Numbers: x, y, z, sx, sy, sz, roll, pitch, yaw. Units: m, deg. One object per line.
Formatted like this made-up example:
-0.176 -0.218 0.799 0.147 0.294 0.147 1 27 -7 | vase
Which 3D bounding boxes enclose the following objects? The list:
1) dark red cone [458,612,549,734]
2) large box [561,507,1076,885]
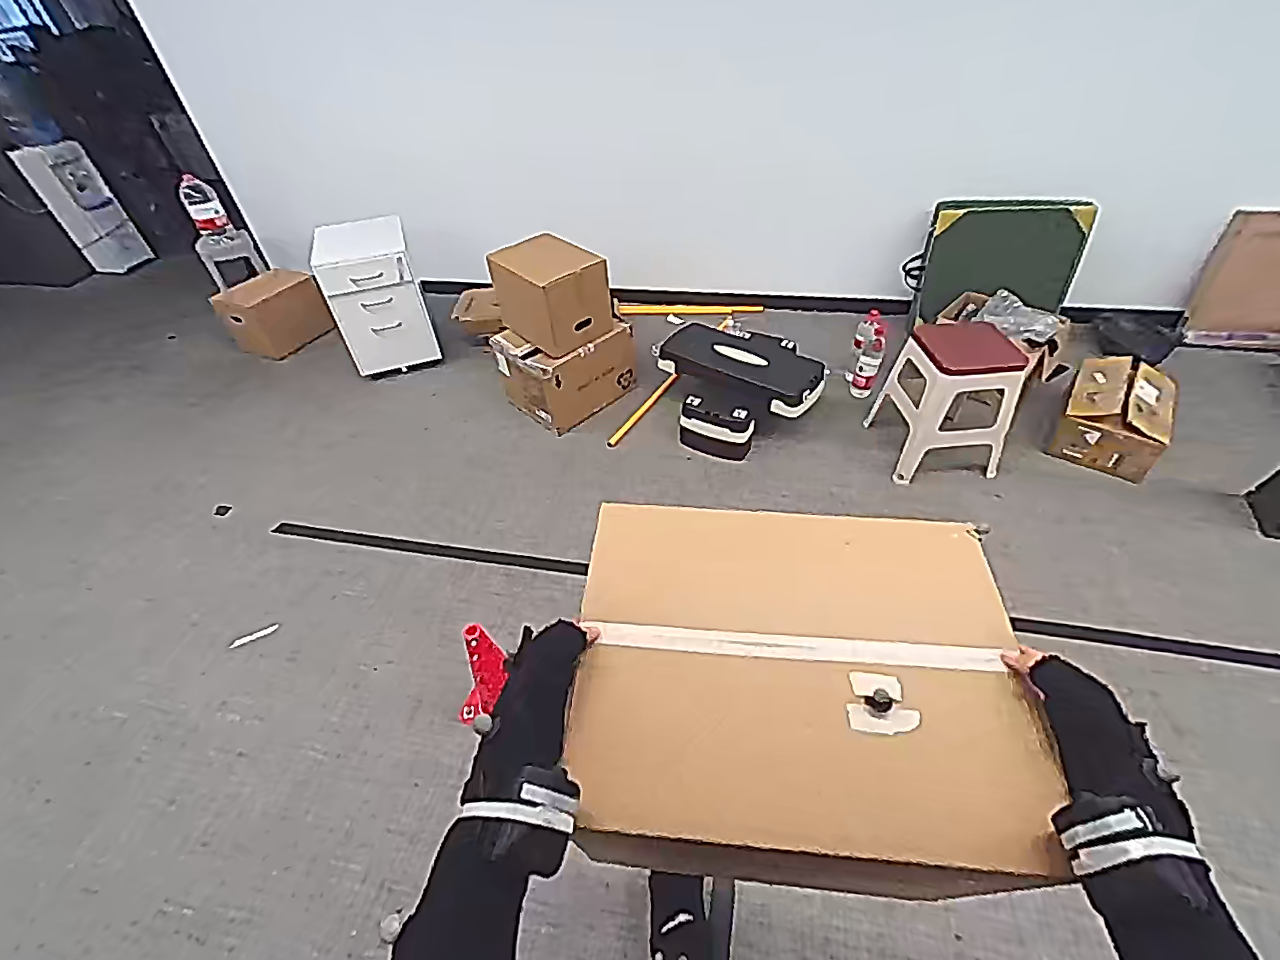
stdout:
-0.377 0.461 1.372 0.201 0.394 0.202 11 46 14 | dark red cone
0.146 0.251 0.625 0.408 0.320 0.320 3 51 5 | large box
